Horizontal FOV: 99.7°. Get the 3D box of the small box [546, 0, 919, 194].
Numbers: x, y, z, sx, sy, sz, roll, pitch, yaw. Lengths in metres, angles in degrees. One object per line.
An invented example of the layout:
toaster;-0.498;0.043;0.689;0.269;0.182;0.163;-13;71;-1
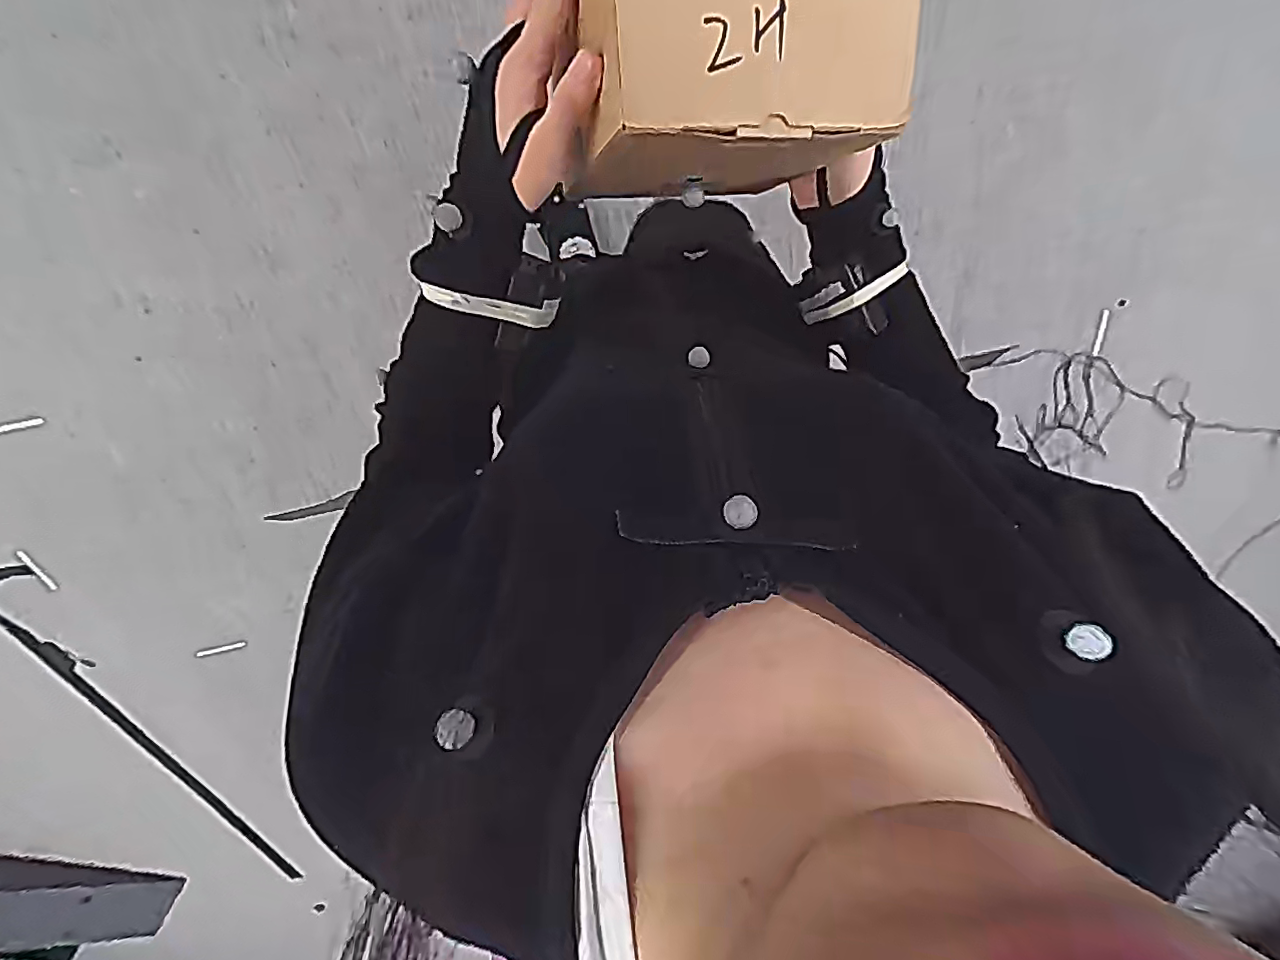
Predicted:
small box;0.039;-0.285;0.321;0.168;0.176;0.179;-9;109;-15
